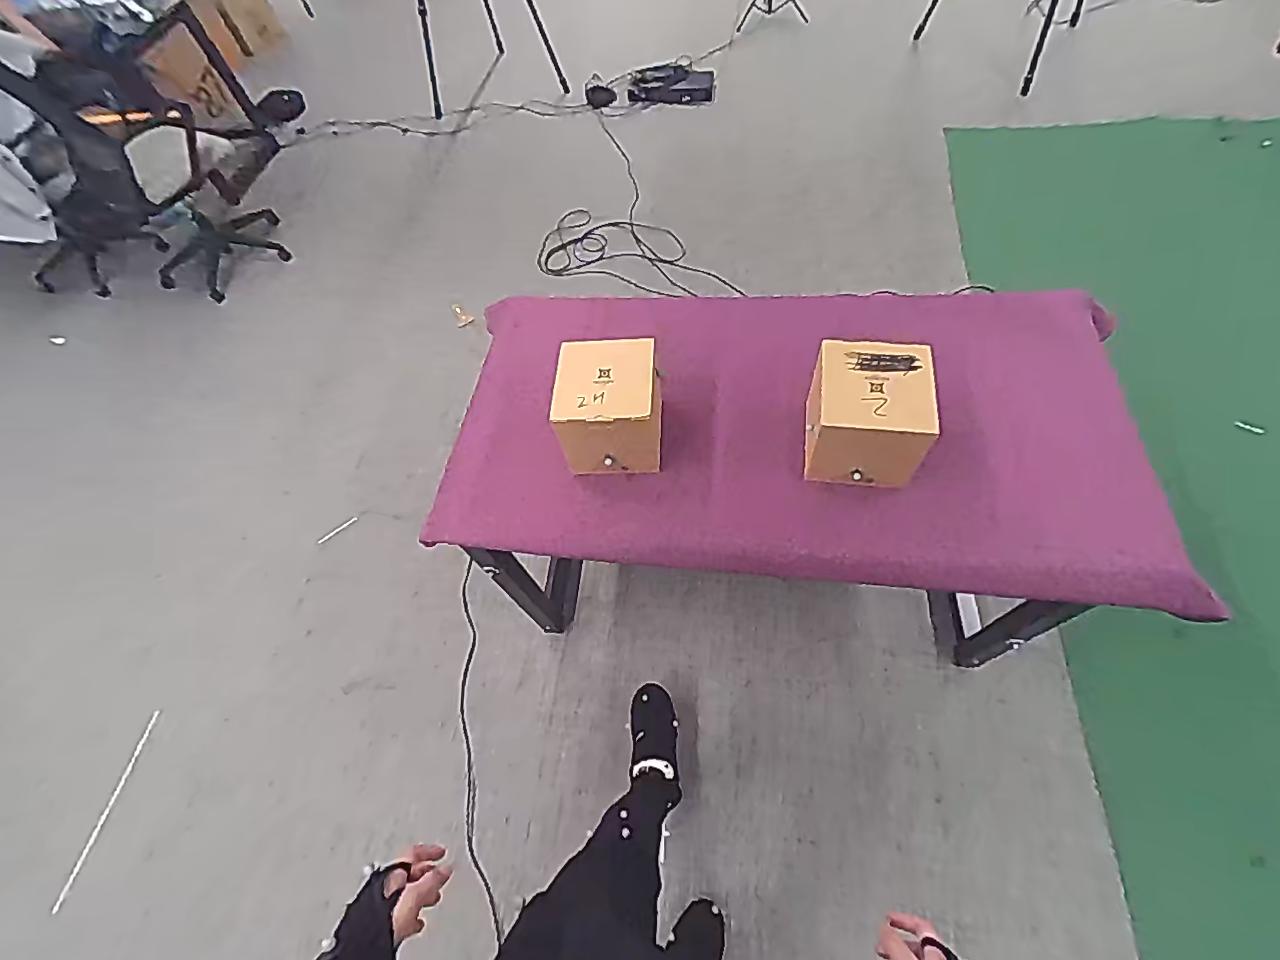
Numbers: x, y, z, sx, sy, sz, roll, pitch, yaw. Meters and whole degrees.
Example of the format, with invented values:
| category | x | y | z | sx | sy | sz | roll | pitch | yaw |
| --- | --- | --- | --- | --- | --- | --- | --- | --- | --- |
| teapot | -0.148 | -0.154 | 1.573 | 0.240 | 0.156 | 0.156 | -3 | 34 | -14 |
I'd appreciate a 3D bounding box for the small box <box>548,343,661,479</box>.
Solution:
| category | x | y | z | sx | sy | sz | roll | pitch | yaw |
| --- | --- | --- | --- | --- | --- | --- | --- | --- | --- |
| small box | -0.052 | -0.120 | 0.956 | 0.168 | 0.176 | 0.179 | 0 | 58 | 7 |
